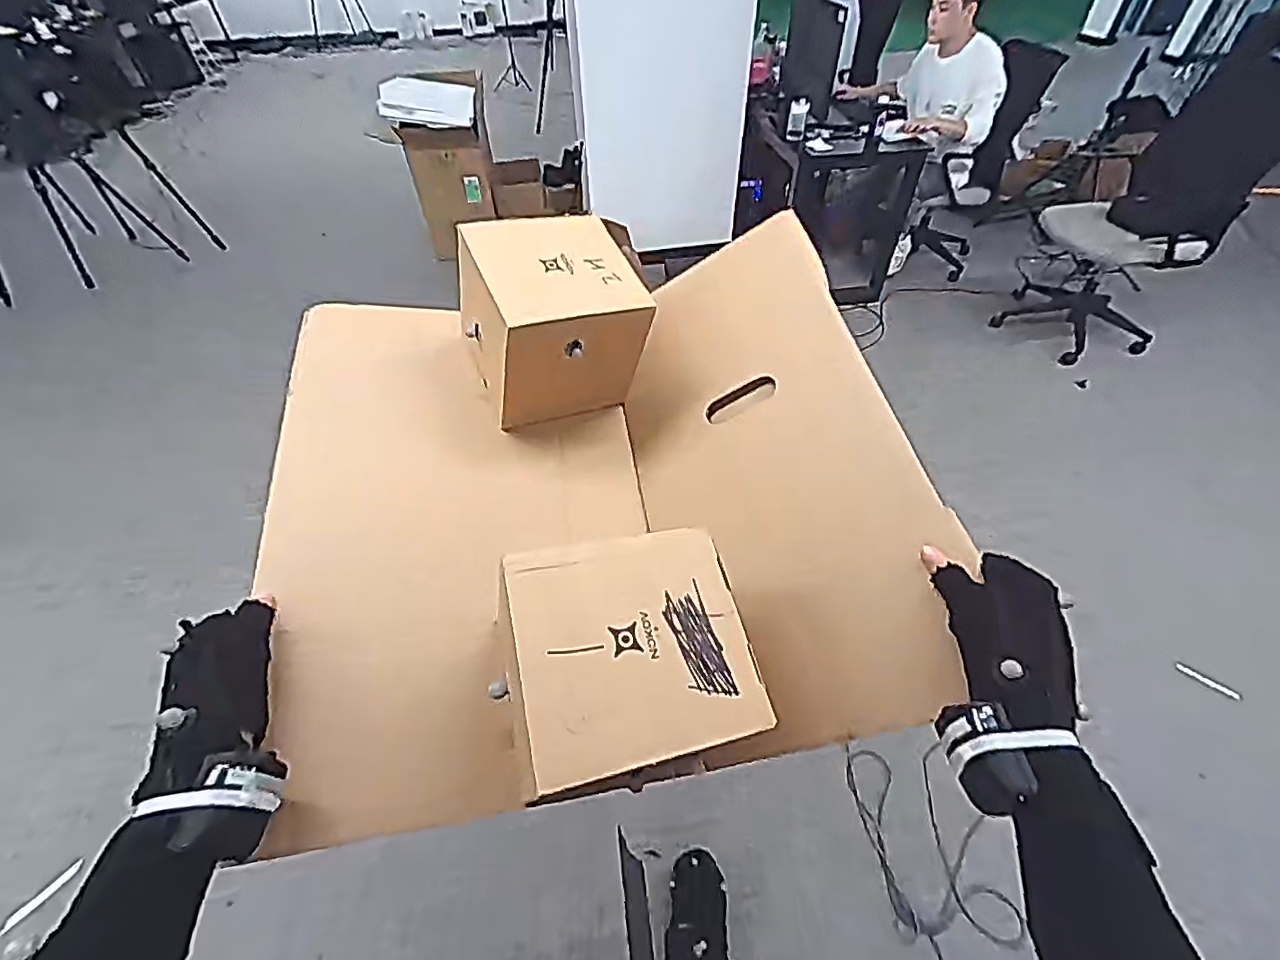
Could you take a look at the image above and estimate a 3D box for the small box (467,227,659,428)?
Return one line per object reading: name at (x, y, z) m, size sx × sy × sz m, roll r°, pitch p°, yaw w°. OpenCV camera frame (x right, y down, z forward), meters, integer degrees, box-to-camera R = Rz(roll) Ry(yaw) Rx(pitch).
small box at (-0.104, -0.185, 0.670) m, size 0.179 × 0.176 × 0.168 m, roll -15°, pitch 64°, yaw -25°
